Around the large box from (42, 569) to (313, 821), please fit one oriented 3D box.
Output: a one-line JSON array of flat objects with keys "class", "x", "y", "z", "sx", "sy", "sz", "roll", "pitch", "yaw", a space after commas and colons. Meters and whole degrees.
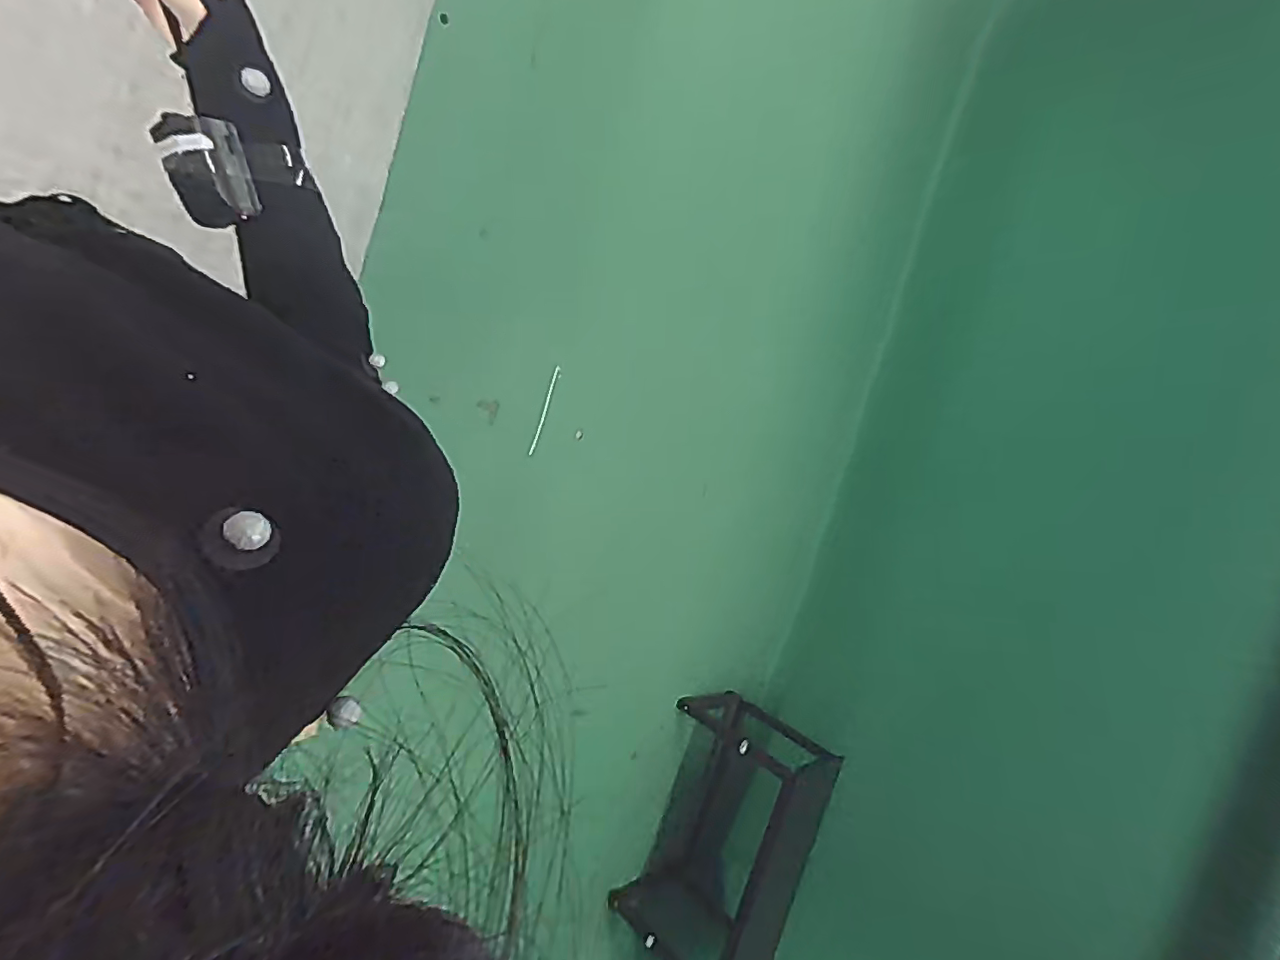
[{"class": "large box", "x": -0.992, "y": 0.422, "z": 1.184, "sx": 0.408, "sy": 0.320, "sz": 0.320, "roll": -6, "pitch": 110, "yaw": -46}]
